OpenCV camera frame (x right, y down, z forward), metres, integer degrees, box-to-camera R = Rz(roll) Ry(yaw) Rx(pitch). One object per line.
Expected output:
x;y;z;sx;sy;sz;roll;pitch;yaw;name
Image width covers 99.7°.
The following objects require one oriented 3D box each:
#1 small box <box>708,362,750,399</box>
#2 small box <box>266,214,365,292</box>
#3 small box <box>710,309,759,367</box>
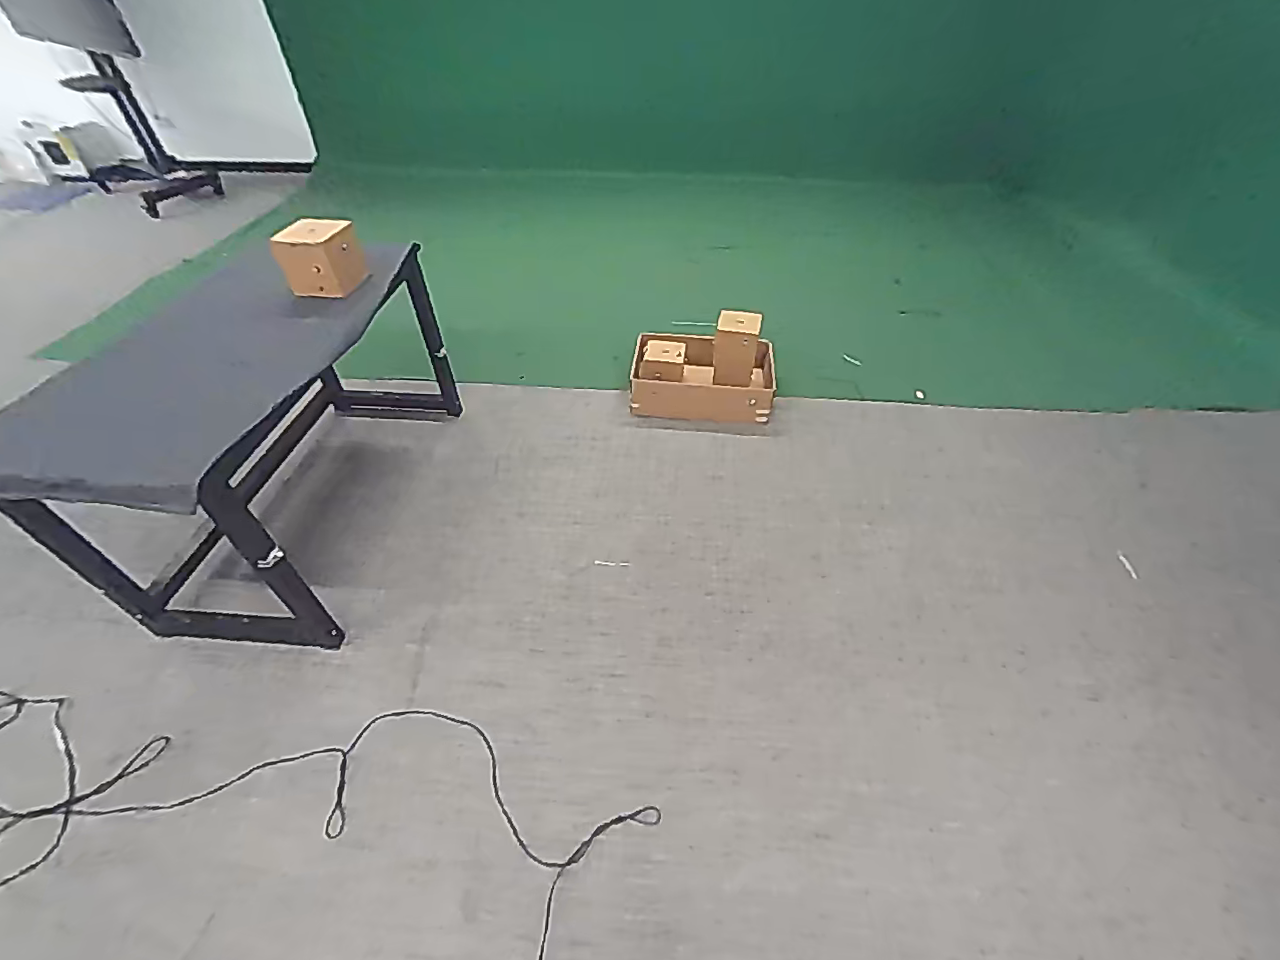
0.400;-0.491;2.426;0.168;0.176;0.179;9;48;9;small box
-0.966;-0.683;1.632;0.168;0.176;0.179;6;44;5;small box
0.401;-0.602;2.304;0.179;0.176;0.168;10;46;10;small box
